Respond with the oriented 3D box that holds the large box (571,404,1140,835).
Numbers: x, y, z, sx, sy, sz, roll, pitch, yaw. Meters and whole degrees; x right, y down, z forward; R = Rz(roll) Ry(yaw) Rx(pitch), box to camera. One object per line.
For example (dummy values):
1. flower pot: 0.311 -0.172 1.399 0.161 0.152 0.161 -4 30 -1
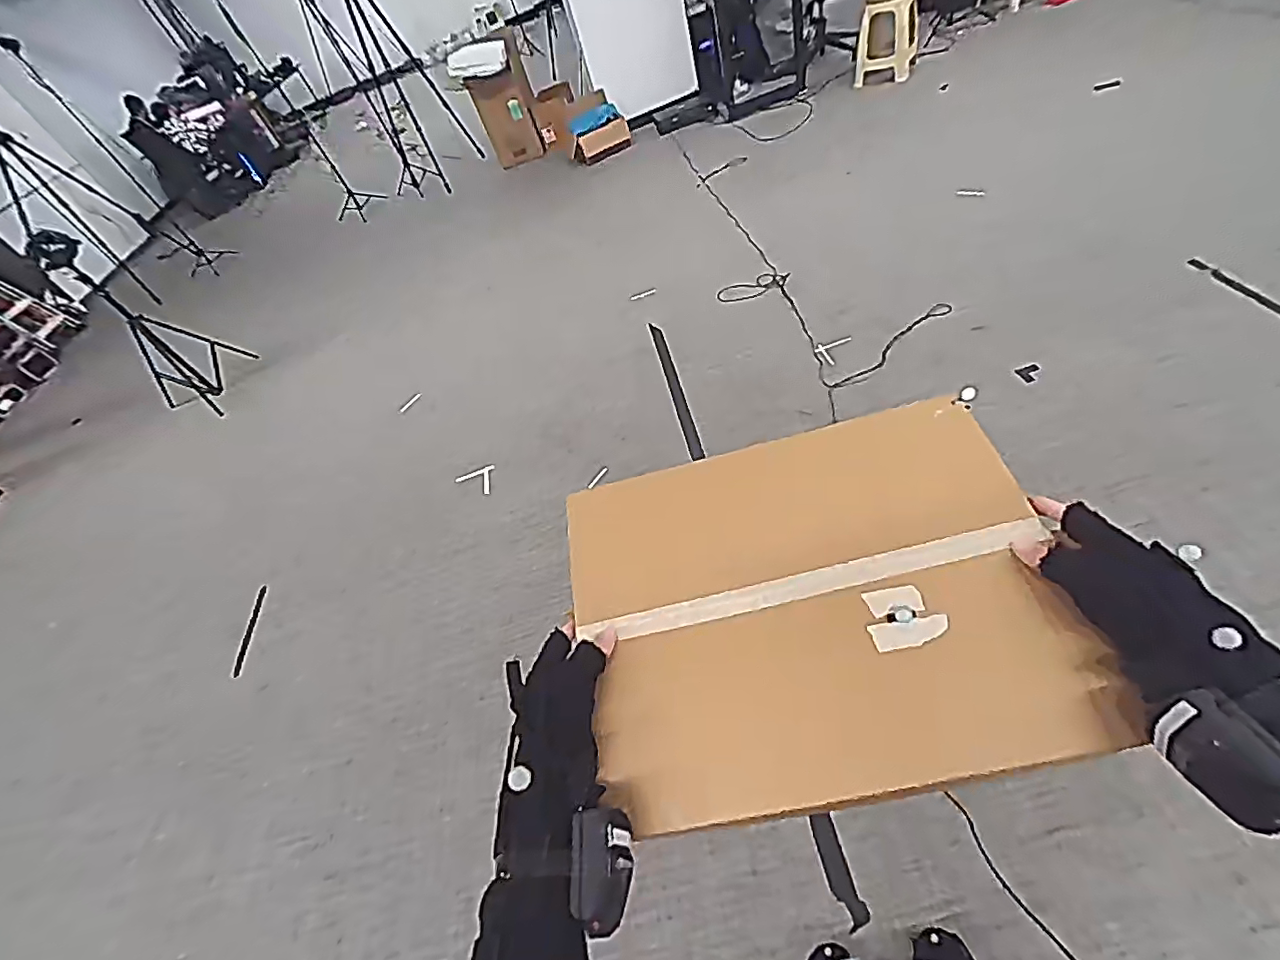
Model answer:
1. large box: 0.171 0.175 0.602 0.408 0.320 0.320 -15 56 6
